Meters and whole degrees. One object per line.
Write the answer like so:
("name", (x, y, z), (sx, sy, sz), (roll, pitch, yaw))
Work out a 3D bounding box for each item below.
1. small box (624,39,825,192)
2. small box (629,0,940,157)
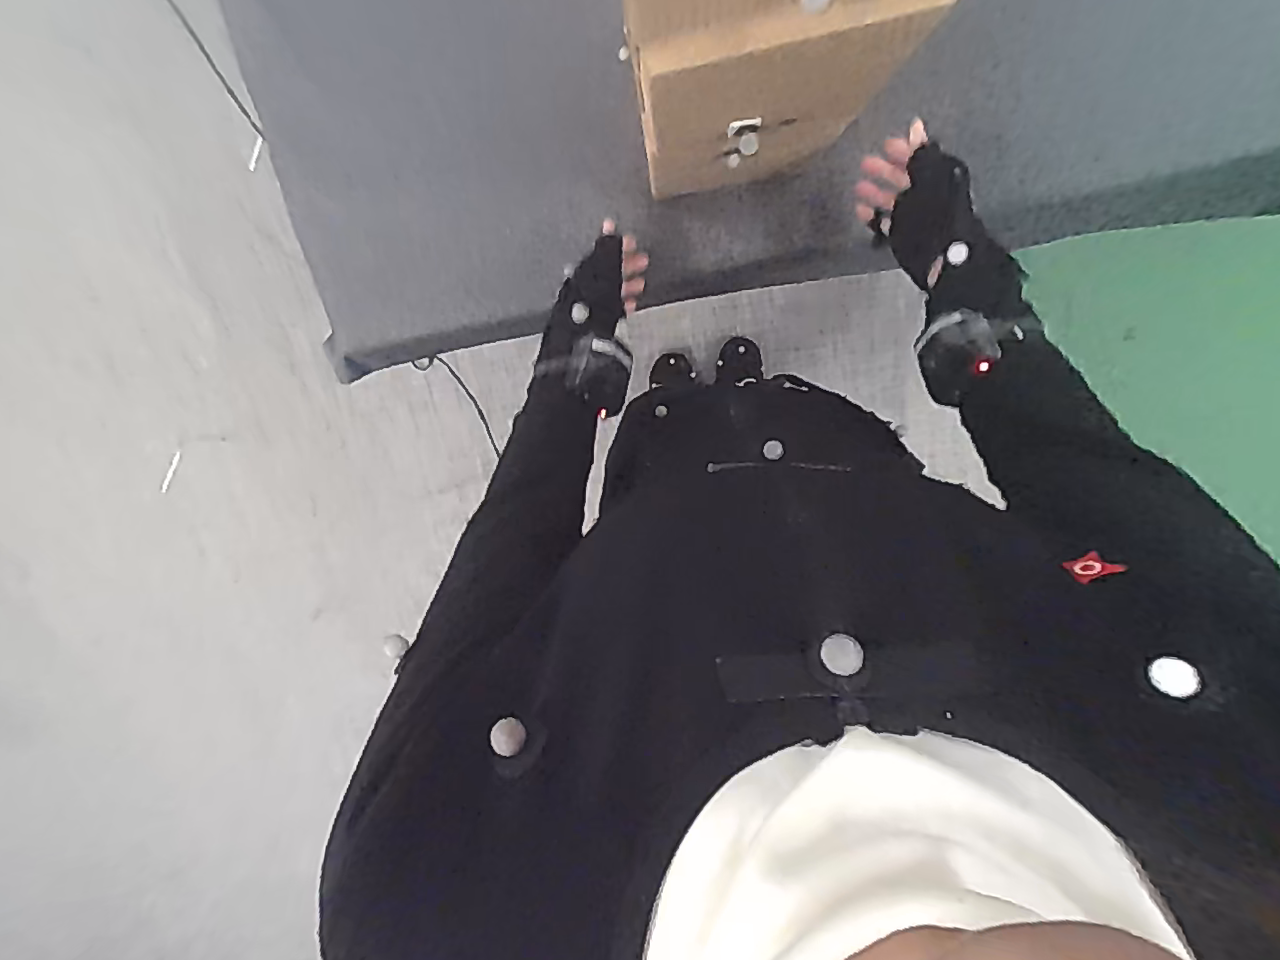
("small box", (0.079, -0.384, 0.498), (0.179, 0.176, 0.168), (-8, 105, 6))
("small box", (0.069, -0.338, 0.344), (0.168, 0.176, 0.179), (-8, 106, 8))
